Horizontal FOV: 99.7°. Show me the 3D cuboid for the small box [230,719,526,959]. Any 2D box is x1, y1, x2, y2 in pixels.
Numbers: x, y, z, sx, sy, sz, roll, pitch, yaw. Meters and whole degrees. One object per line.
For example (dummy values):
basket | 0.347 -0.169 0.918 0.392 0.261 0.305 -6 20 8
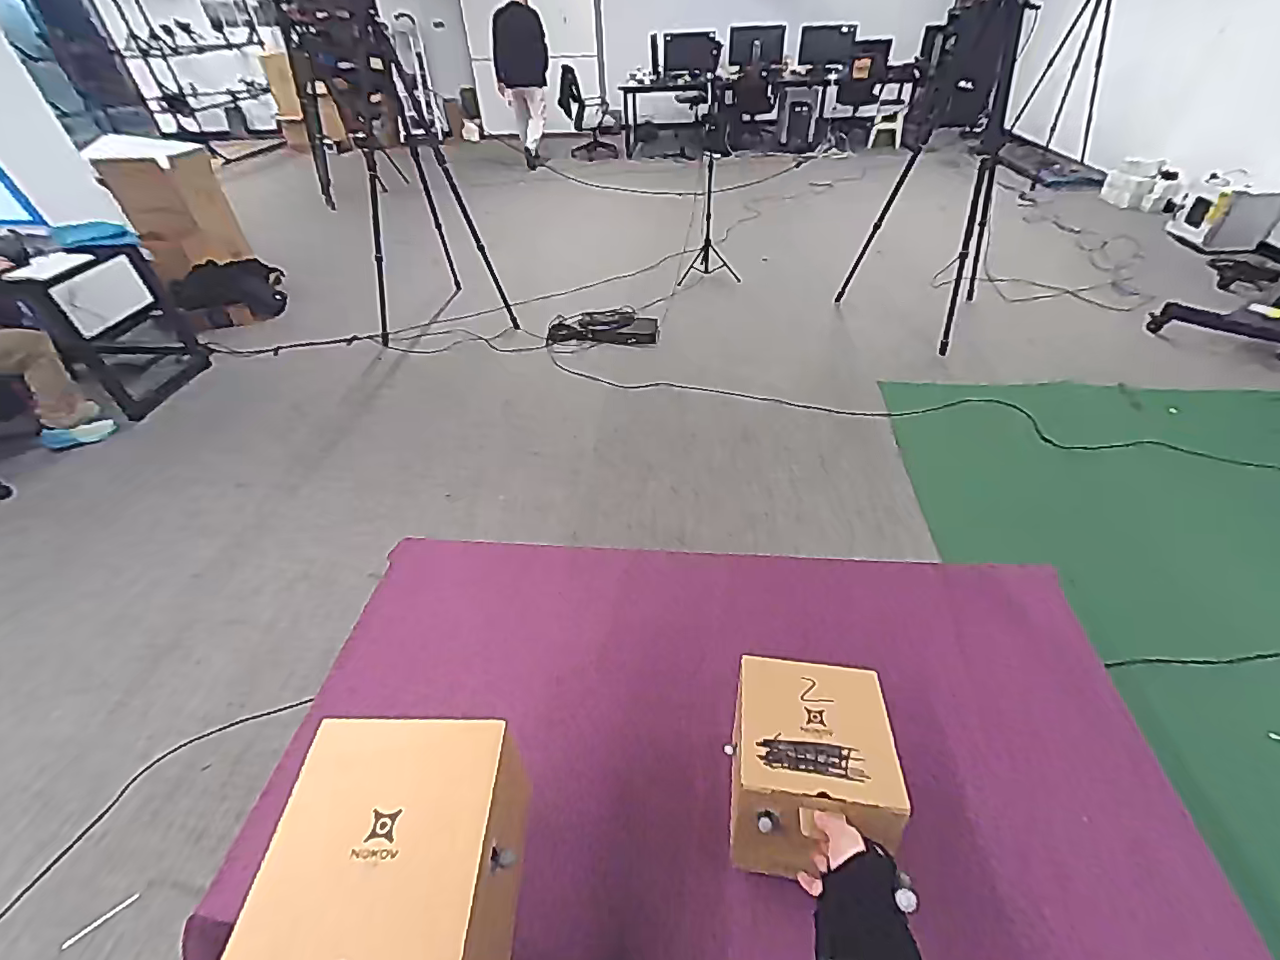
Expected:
small box | -0.204 0.339 0.489 0.168 0.176 0.179 1 45 0
